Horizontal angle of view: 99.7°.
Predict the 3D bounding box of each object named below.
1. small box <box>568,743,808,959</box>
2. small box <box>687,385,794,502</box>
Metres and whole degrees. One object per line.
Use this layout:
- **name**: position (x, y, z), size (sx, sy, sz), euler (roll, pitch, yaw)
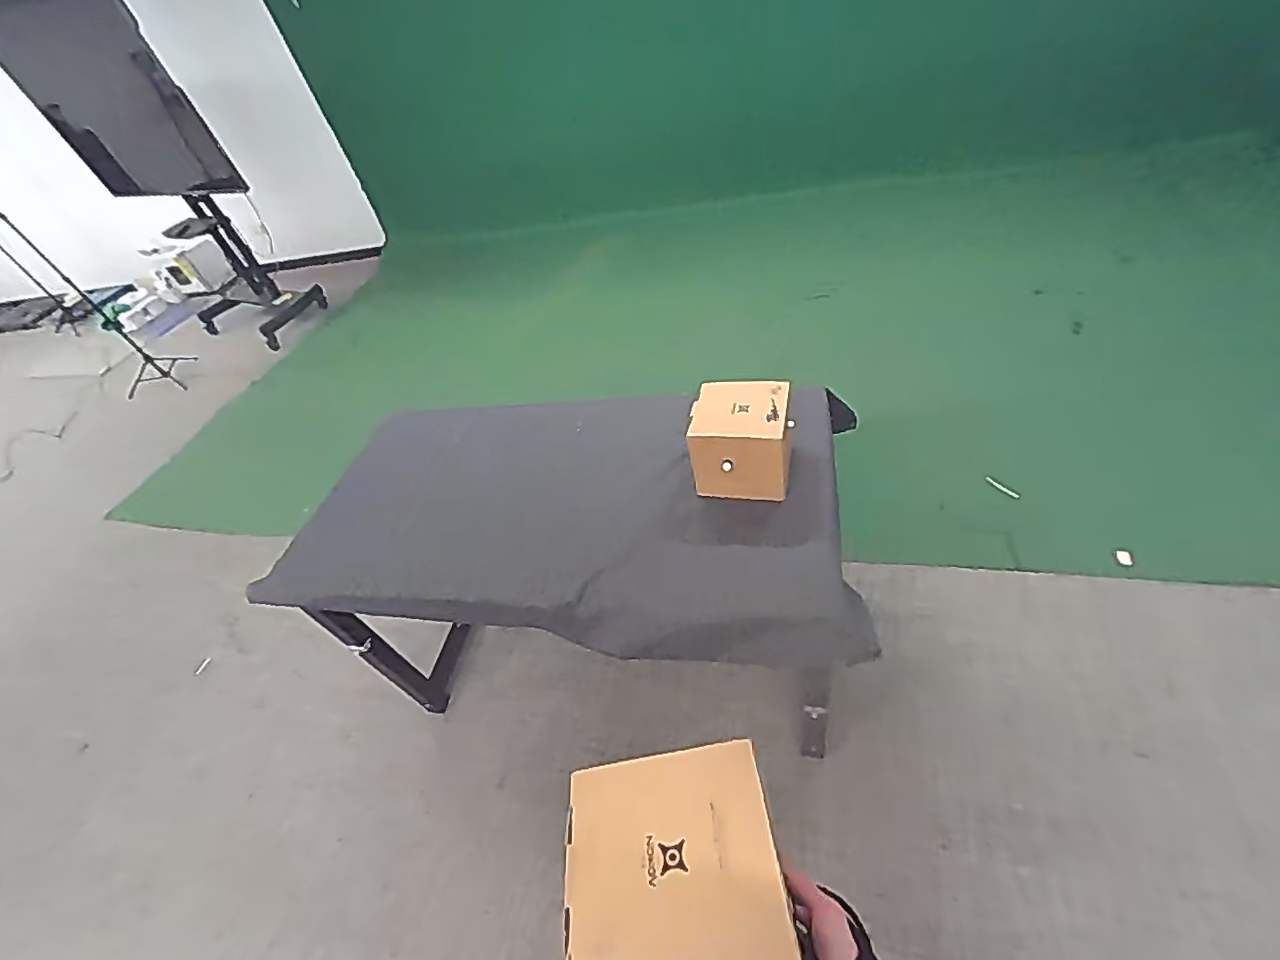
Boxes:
- **small box**: position (0.046, 0.370, 0.491), size (0.179, 0.176, 0.168), euler (-13, 40, 6)
- **small box**: position (0.207, -0.070, 1.076), size (0.179, 0.176, 0.168), euler (2, 48, 20)
